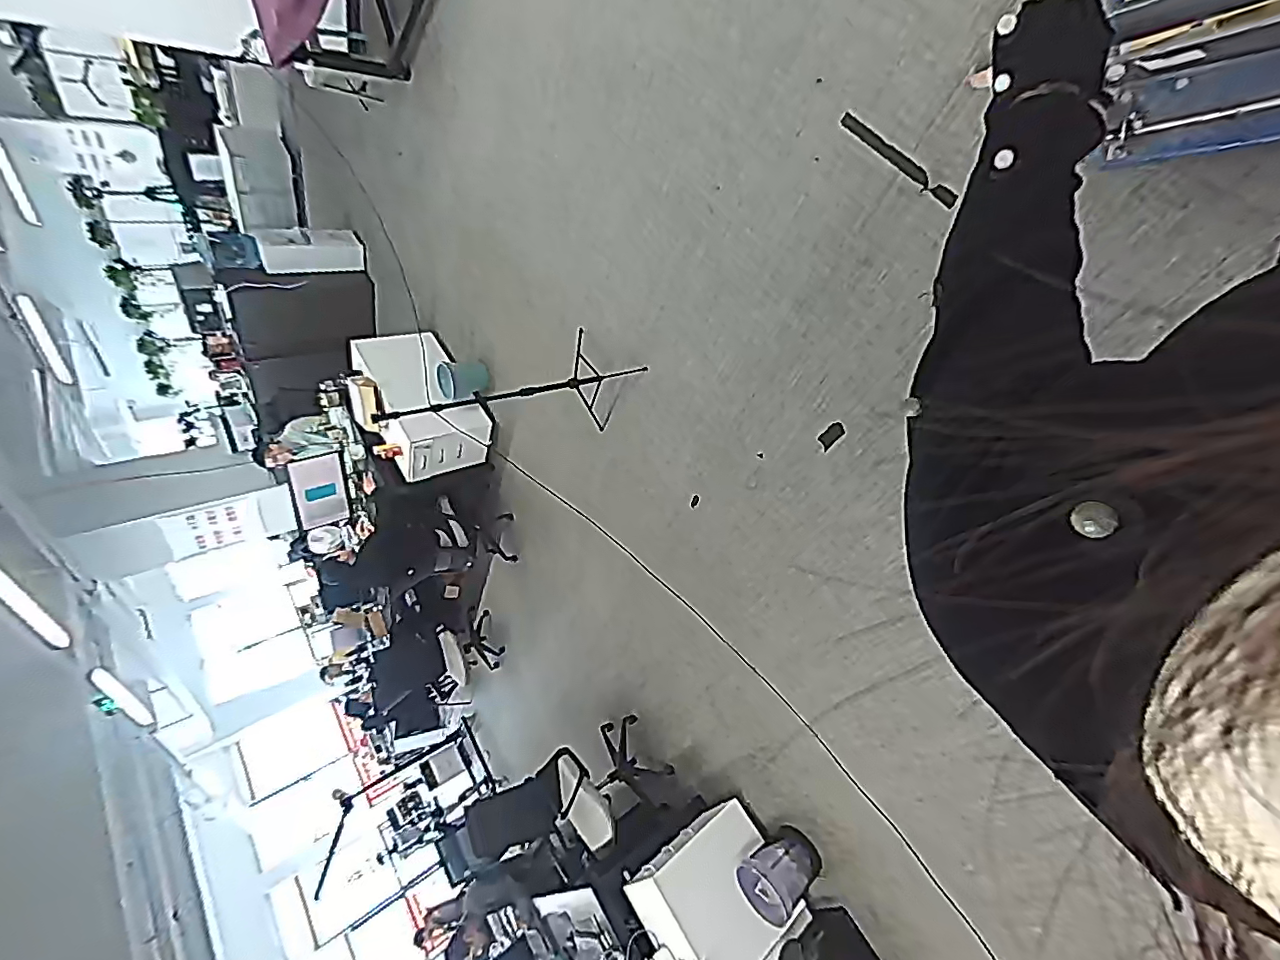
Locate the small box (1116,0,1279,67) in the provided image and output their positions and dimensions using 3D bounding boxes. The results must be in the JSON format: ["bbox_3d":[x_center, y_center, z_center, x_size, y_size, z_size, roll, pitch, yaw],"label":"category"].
[{"bbox_3d":[0.815,-0.723,0.770,0.168,0.176,0.179,12,116,48],"label":"small box"}]
